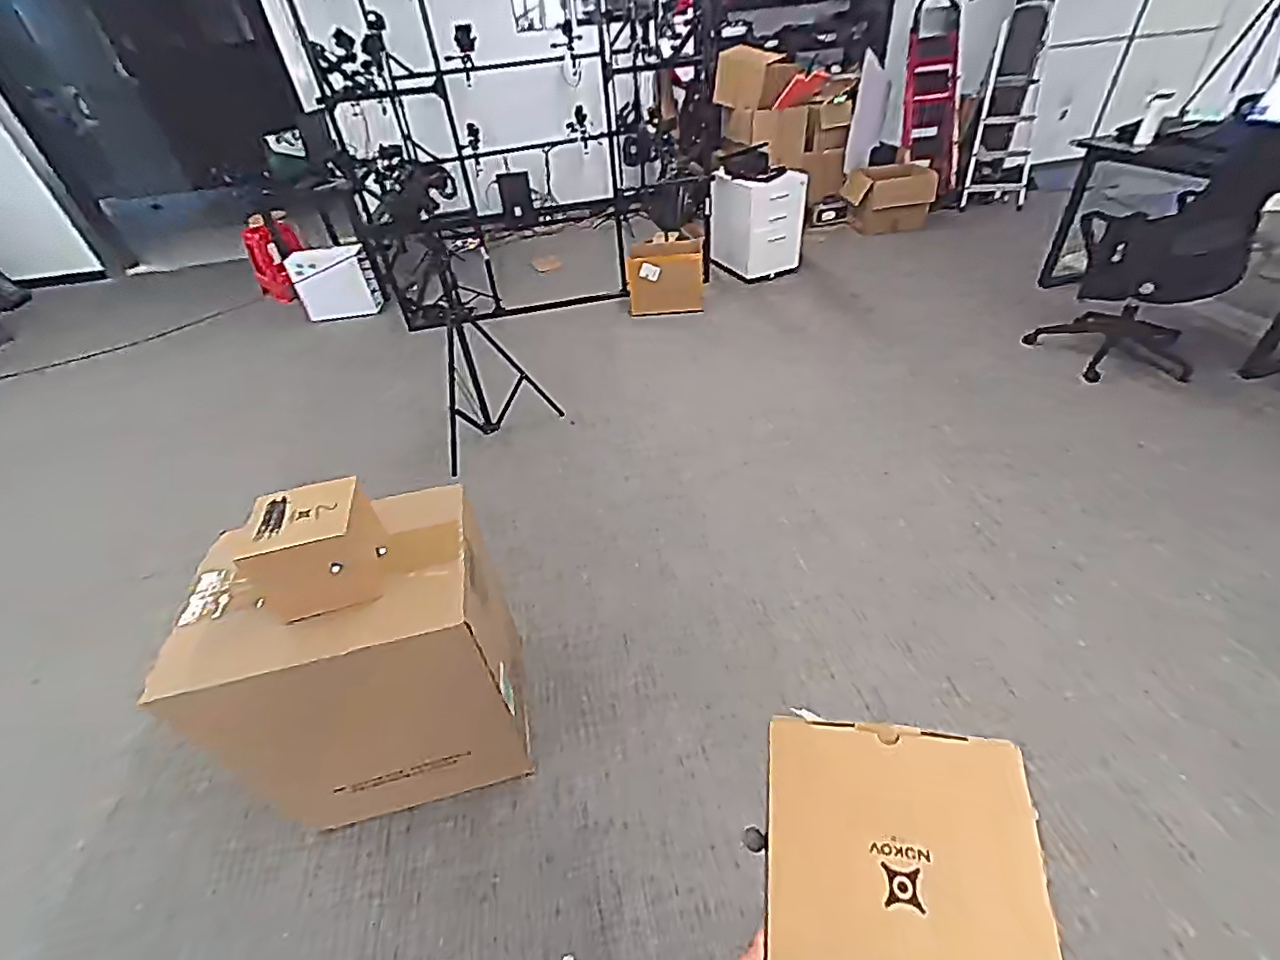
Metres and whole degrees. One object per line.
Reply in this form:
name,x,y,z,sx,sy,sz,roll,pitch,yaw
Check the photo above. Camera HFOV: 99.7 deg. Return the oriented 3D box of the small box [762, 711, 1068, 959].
small box,0.176,0.285,0.394,0.168,0.176,0.179,0,55,13
